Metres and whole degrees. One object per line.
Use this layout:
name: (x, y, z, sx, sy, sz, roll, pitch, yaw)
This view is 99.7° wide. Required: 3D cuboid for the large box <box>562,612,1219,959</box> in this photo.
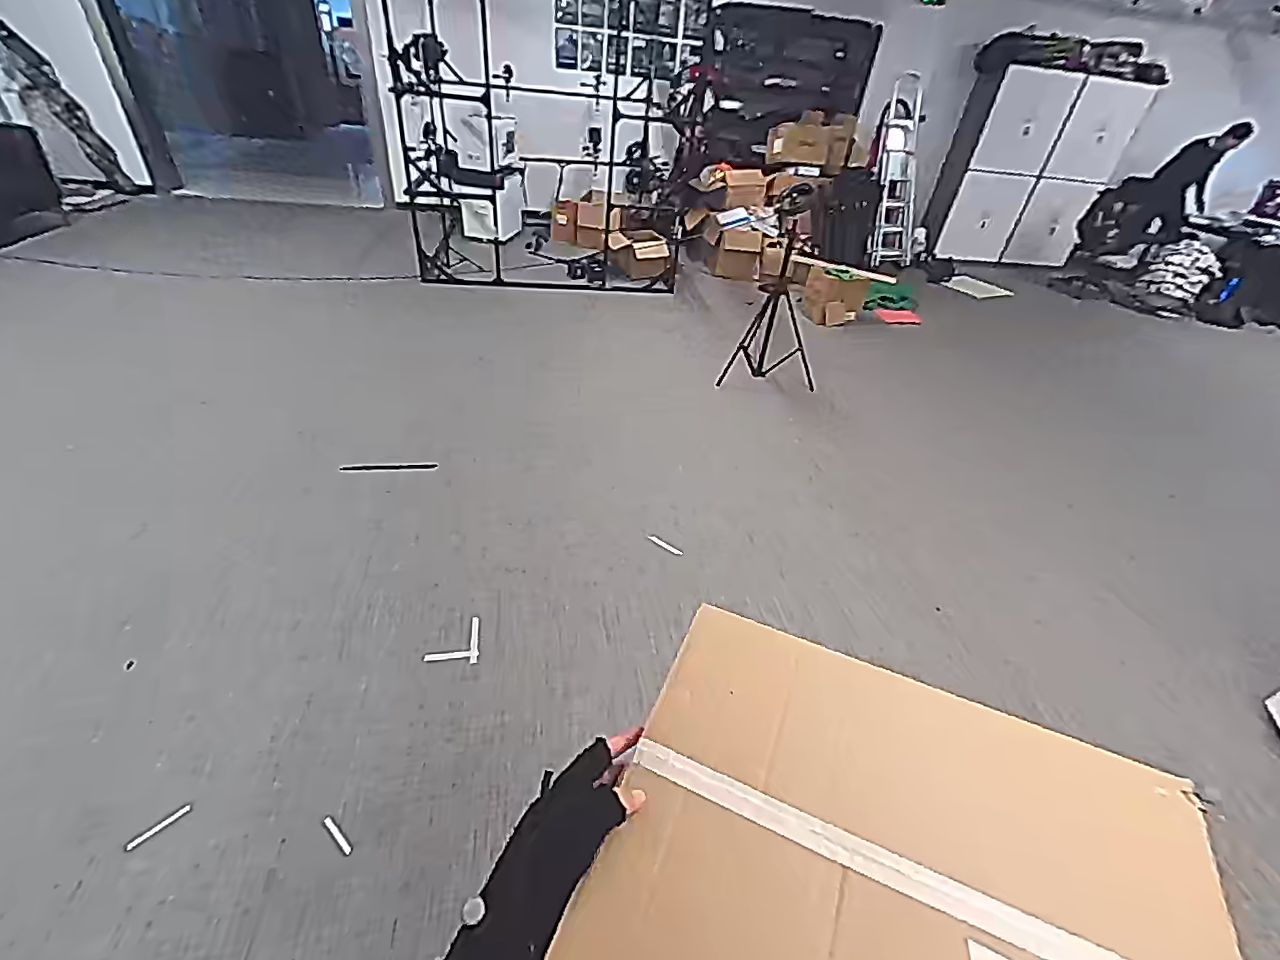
large box: (0.186, 0.389, 0.498, 0.408, 0.320, 0.320, 17, 47, 18)
